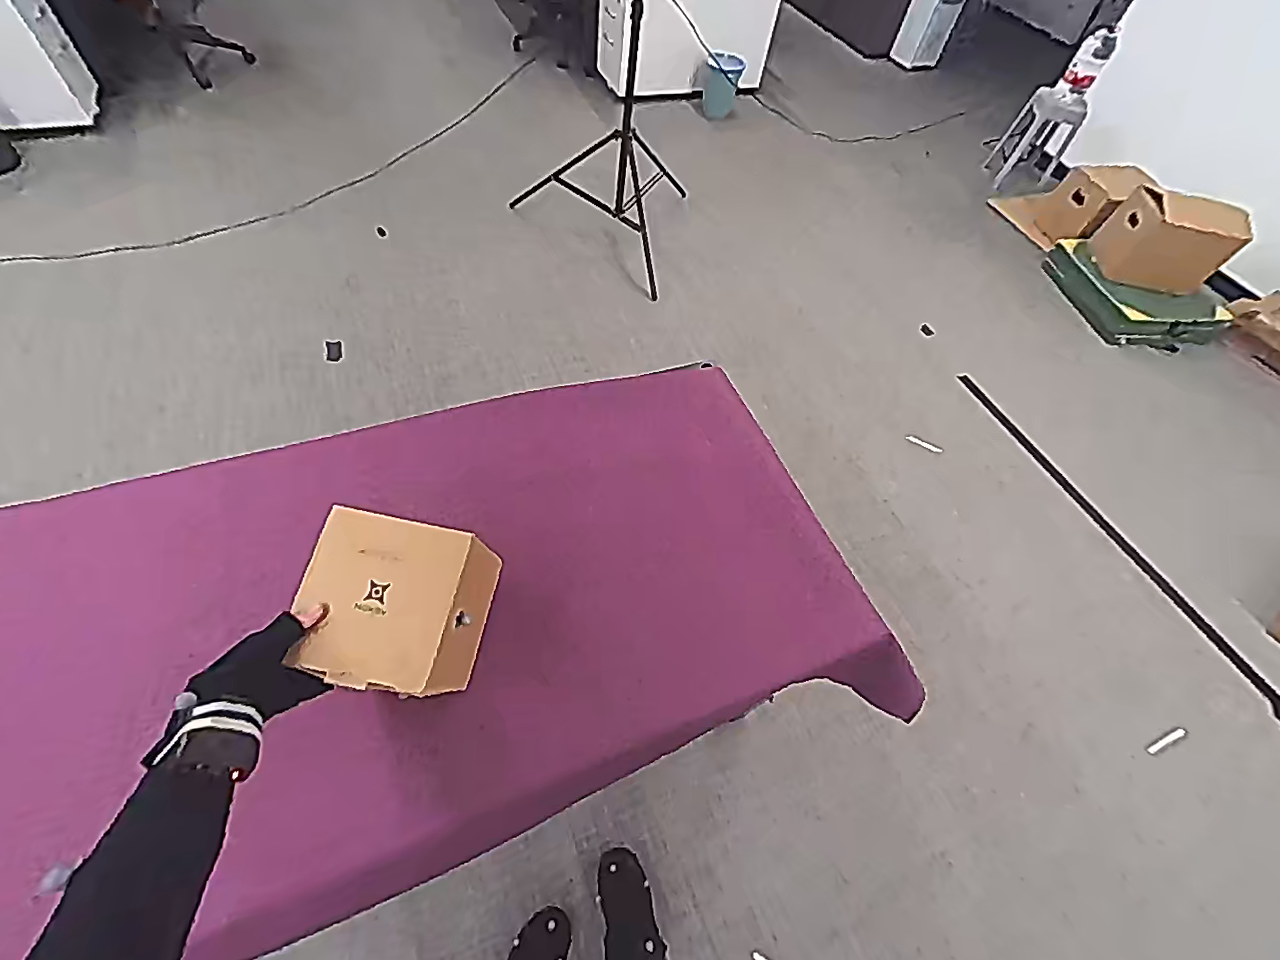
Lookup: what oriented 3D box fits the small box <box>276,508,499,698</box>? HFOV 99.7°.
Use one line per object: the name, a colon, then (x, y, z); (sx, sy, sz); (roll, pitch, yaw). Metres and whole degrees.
small box: (-0.285, 0.152, 0.657); (0.168, 0.176, 0.179); (11, 72, 2)
